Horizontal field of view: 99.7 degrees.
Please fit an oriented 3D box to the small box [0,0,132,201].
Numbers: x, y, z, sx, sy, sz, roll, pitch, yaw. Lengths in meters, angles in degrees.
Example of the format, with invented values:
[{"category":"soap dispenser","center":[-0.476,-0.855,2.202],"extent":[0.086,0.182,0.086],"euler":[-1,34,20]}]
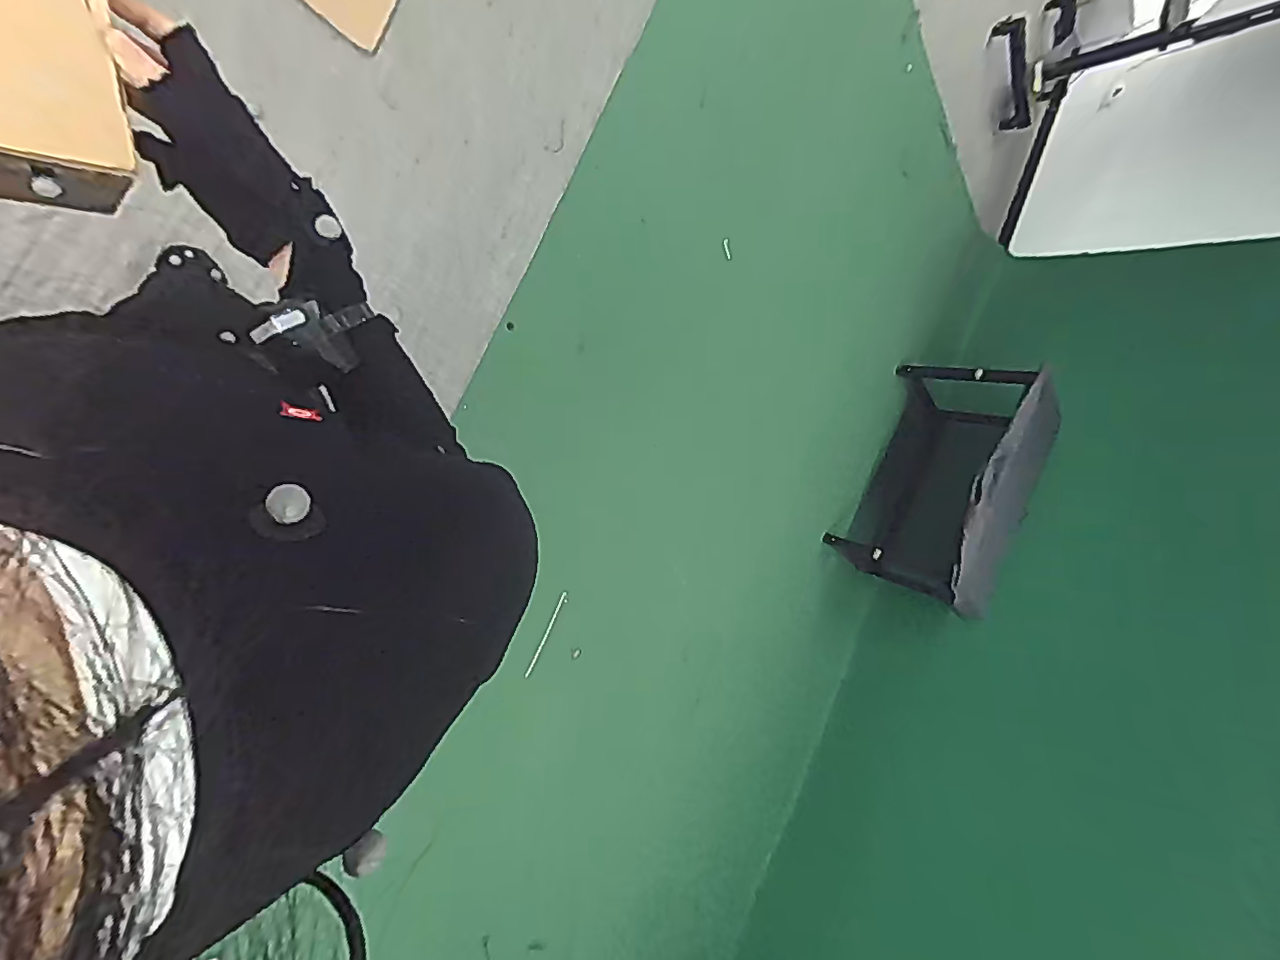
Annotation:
[{"category":"small box","center":[-0.408,-0.262,0.286],"extent":[0.179,0.176,0.168],"euler":[-13,110,-46]}]
